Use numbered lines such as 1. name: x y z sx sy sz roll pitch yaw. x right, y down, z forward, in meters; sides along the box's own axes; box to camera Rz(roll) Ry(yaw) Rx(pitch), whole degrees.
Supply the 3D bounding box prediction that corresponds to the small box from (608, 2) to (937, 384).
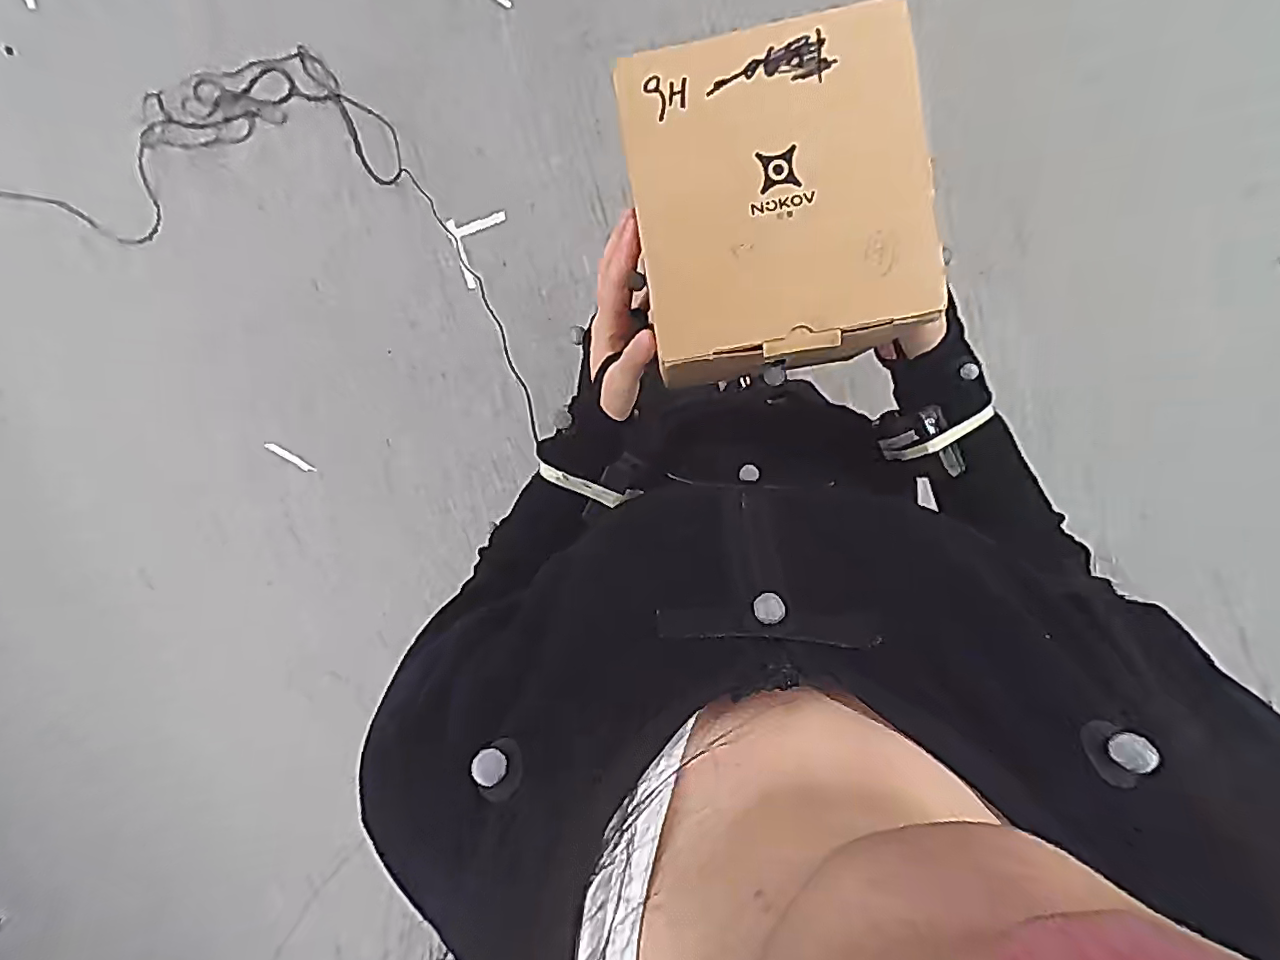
1. small box: 0.081 -0.168 0.384 0.168 0.176 0.179 -10 95 4
